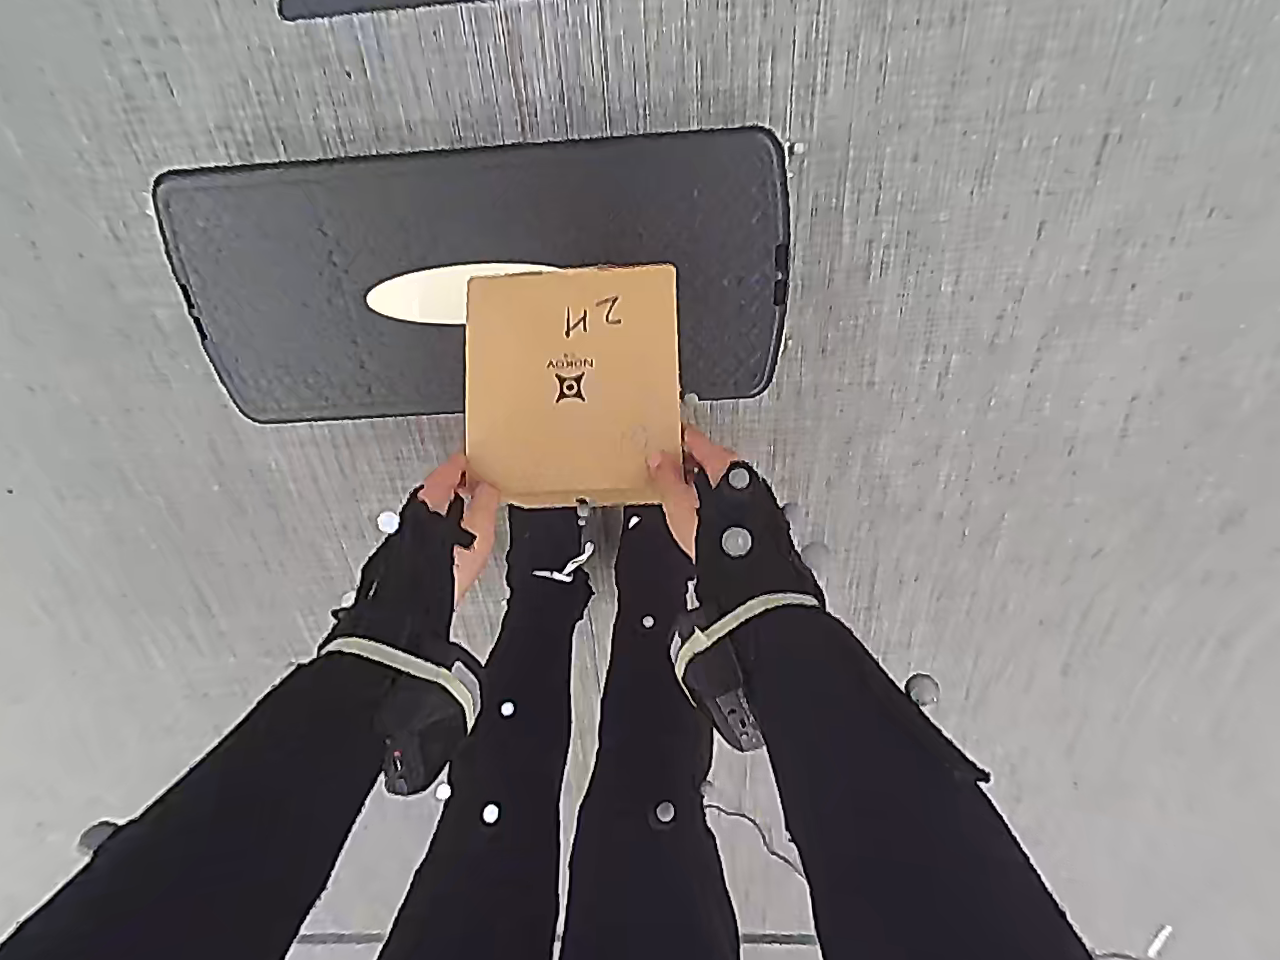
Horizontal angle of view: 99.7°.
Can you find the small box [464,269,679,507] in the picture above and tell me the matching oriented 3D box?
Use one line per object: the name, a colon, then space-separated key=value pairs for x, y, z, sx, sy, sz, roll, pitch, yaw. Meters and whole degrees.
small box: x=-0.048 y=-0.066 z=0.490 sx=0.168 sy=0.176 sz=0.179 roll=-2 pitch=83 yaw=2
